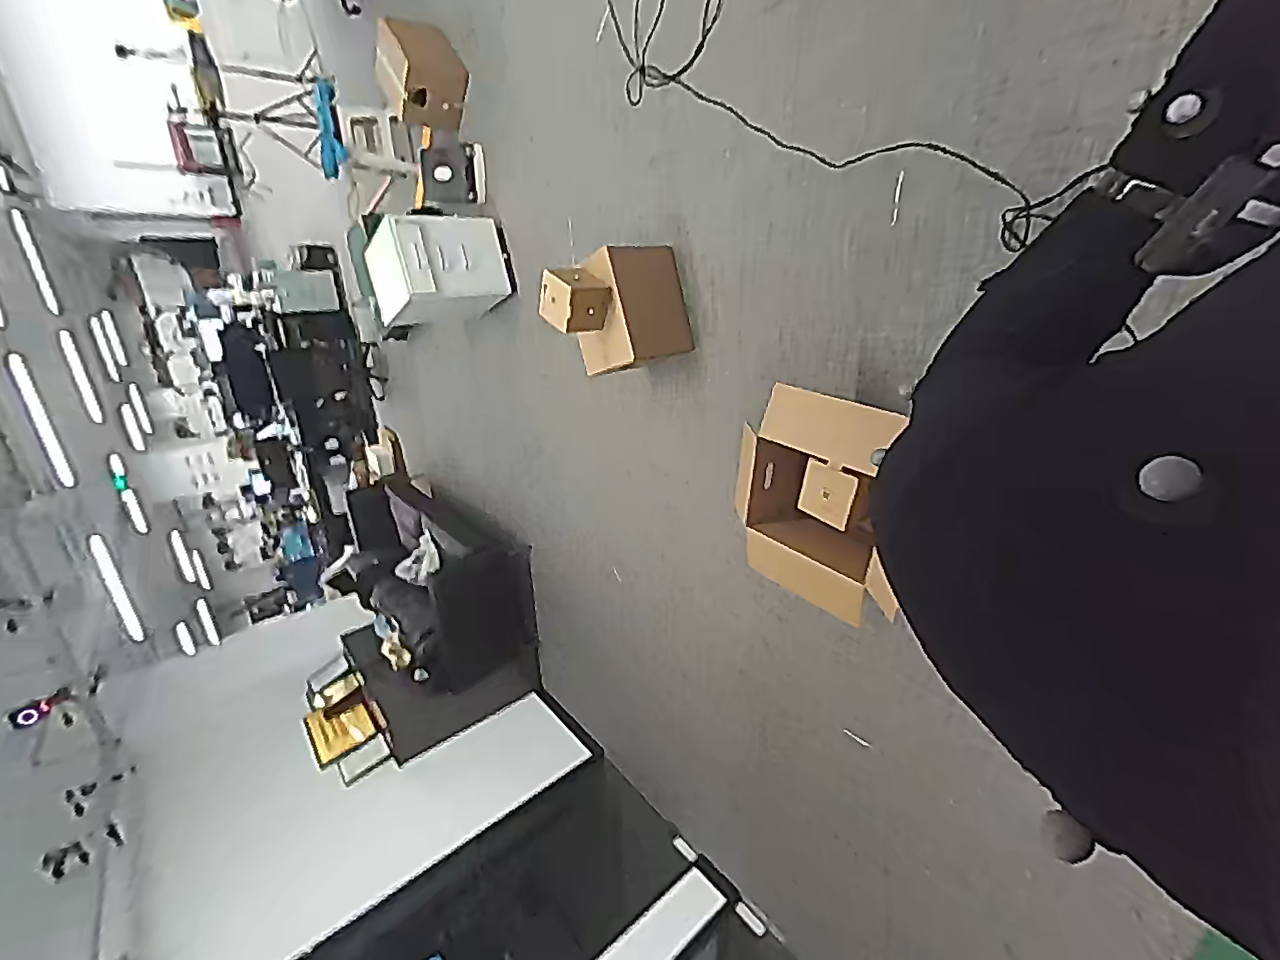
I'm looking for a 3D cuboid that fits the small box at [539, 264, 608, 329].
[{"bbox_3d":[-0.235,-0.657,1.918,0.179,0.176,0.168,42,134,30],"label":"small box"}]

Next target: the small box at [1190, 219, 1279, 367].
[{"bbox_3d":[1.068,-0.315,0.874,0.179,0.168,0.176,-31,107,29],"label":"small box"}]
